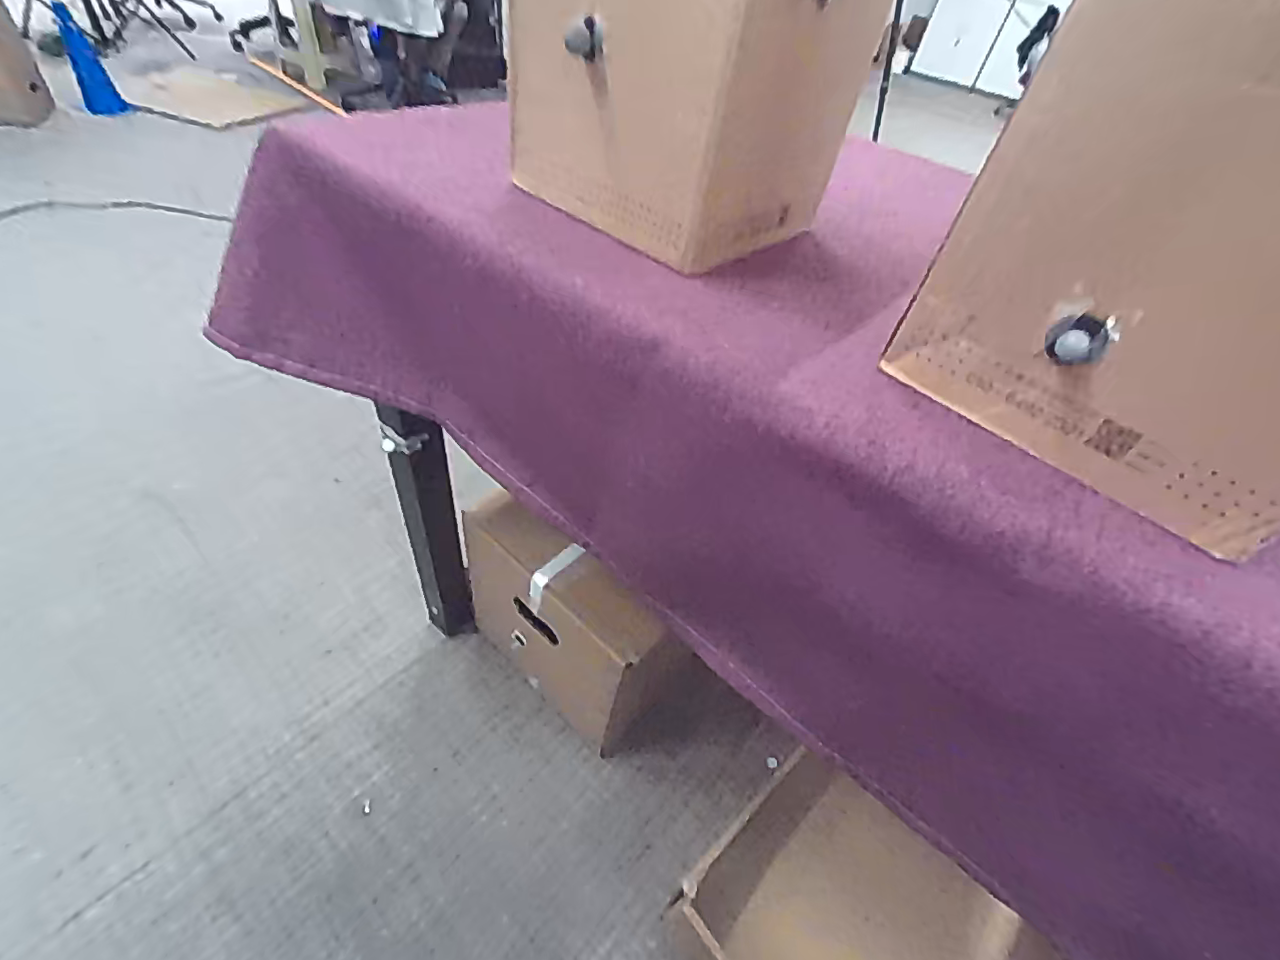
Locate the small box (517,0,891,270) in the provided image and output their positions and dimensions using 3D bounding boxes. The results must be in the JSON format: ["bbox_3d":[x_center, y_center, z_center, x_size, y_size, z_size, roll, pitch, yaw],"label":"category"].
[{"bbox_3d":[0.031,-0.263,0.359,0.179,0.176,0.168,36,51,24],"label":"small box"}]

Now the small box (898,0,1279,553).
[{"bbox_3d":[0.256,-0.102,0.248,0.179,0.176,0.168,-31,58,-33],"label":"small box"}]
